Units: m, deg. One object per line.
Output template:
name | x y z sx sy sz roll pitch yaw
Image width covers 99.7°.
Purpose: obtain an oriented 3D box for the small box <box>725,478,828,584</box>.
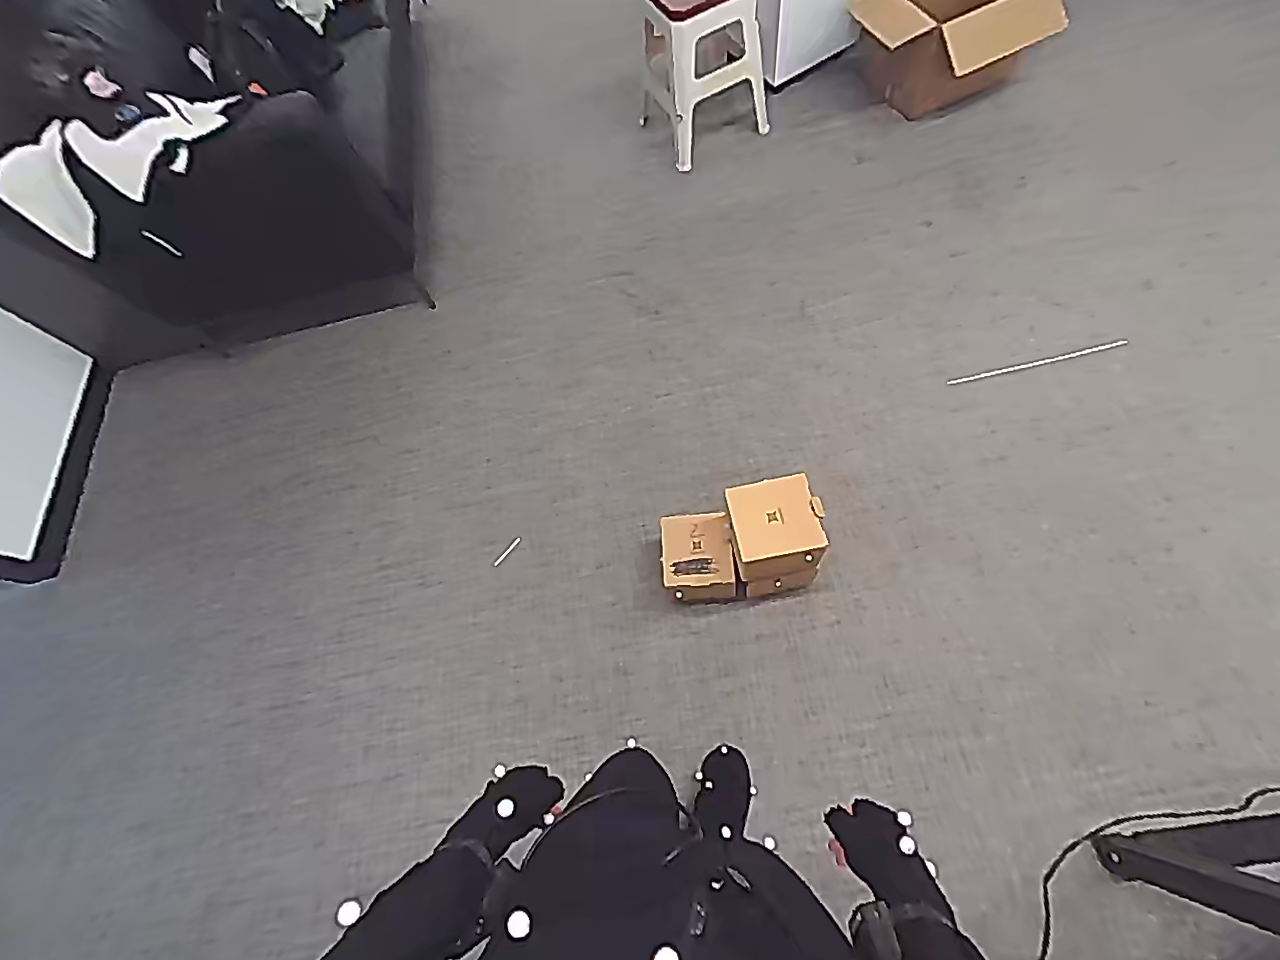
small box | 0.291 0.118 1.182 0.179 0.176 0.168 -13 64 4
